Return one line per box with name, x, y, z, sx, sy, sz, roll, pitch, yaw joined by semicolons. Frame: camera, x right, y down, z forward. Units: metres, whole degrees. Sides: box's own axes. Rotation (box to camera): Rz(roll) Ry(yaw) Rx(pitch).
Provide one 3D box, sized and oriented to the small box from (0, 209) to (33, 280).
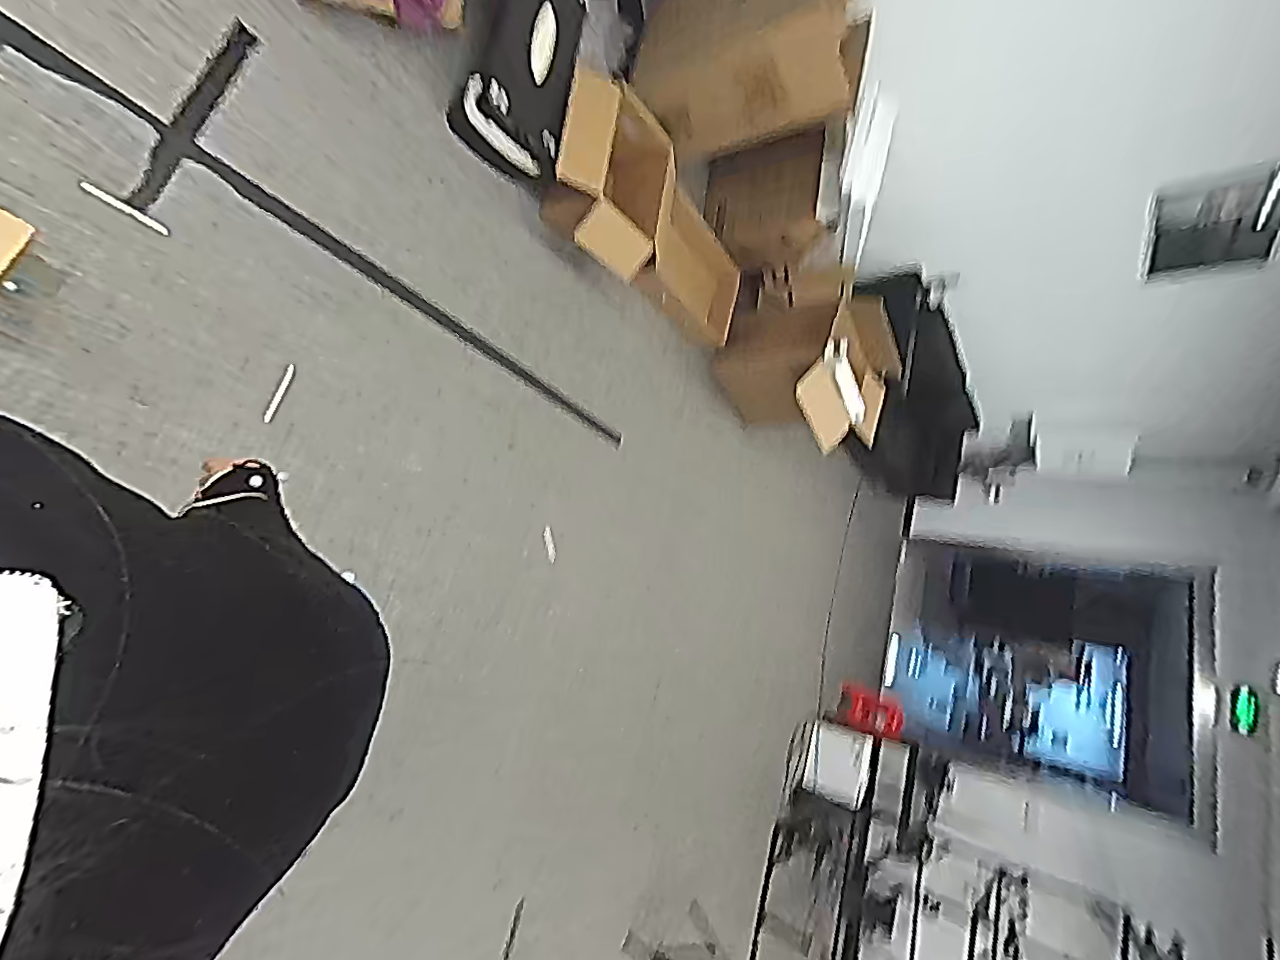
small box;-1.155;-0.392;0.872;0.179;0.176;0.168;39;64;-47
